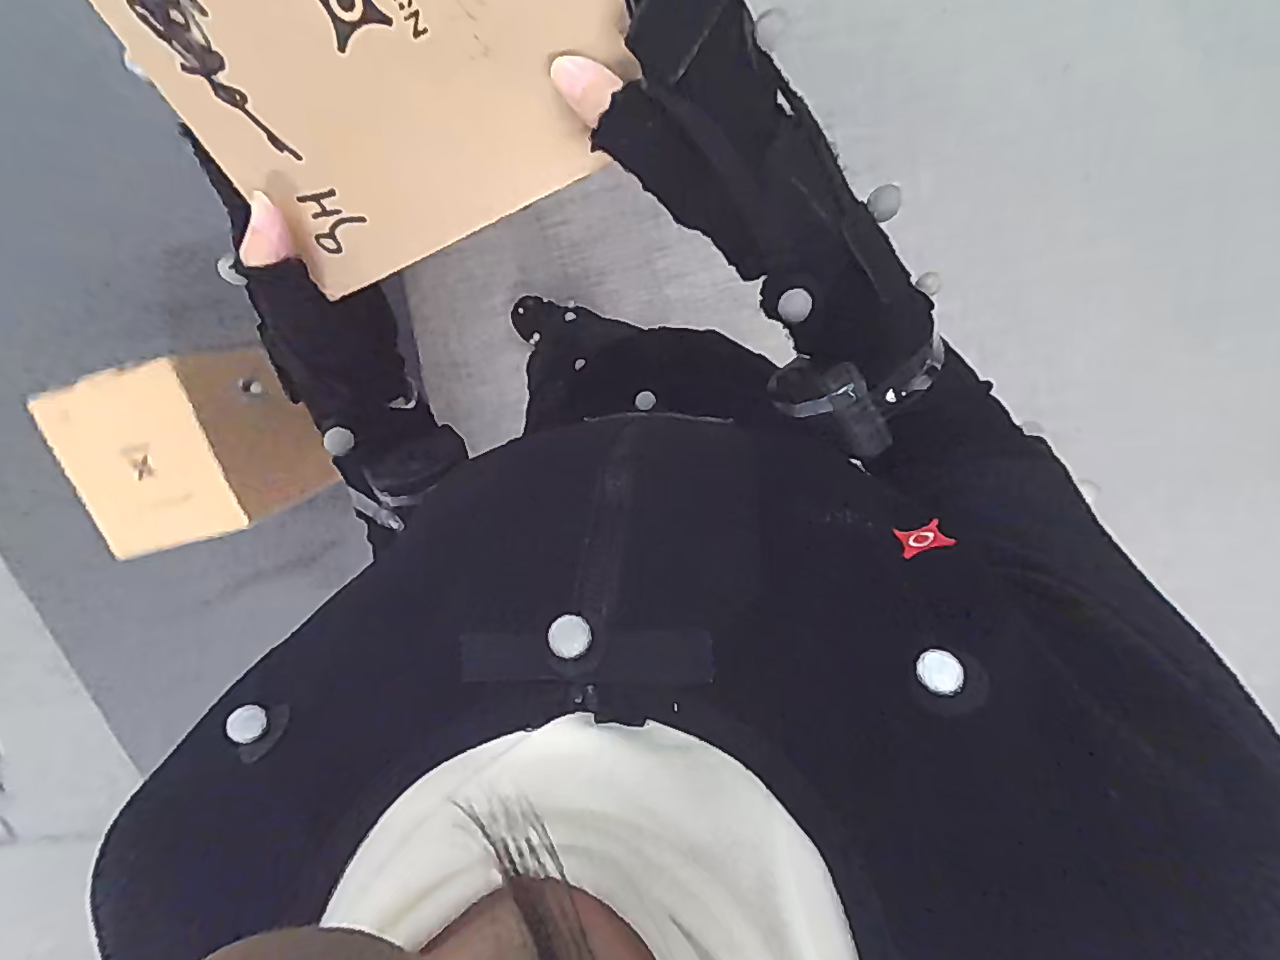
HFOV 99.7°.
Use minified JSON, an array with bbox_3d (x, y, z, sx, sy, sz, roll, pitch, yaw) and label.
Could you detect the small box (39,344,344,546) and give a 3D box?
[{"bbox_3d":[-0.487,-0.051,0.620,0.168,0.176,0.179,-13,108,9],"label":"small box"}]
